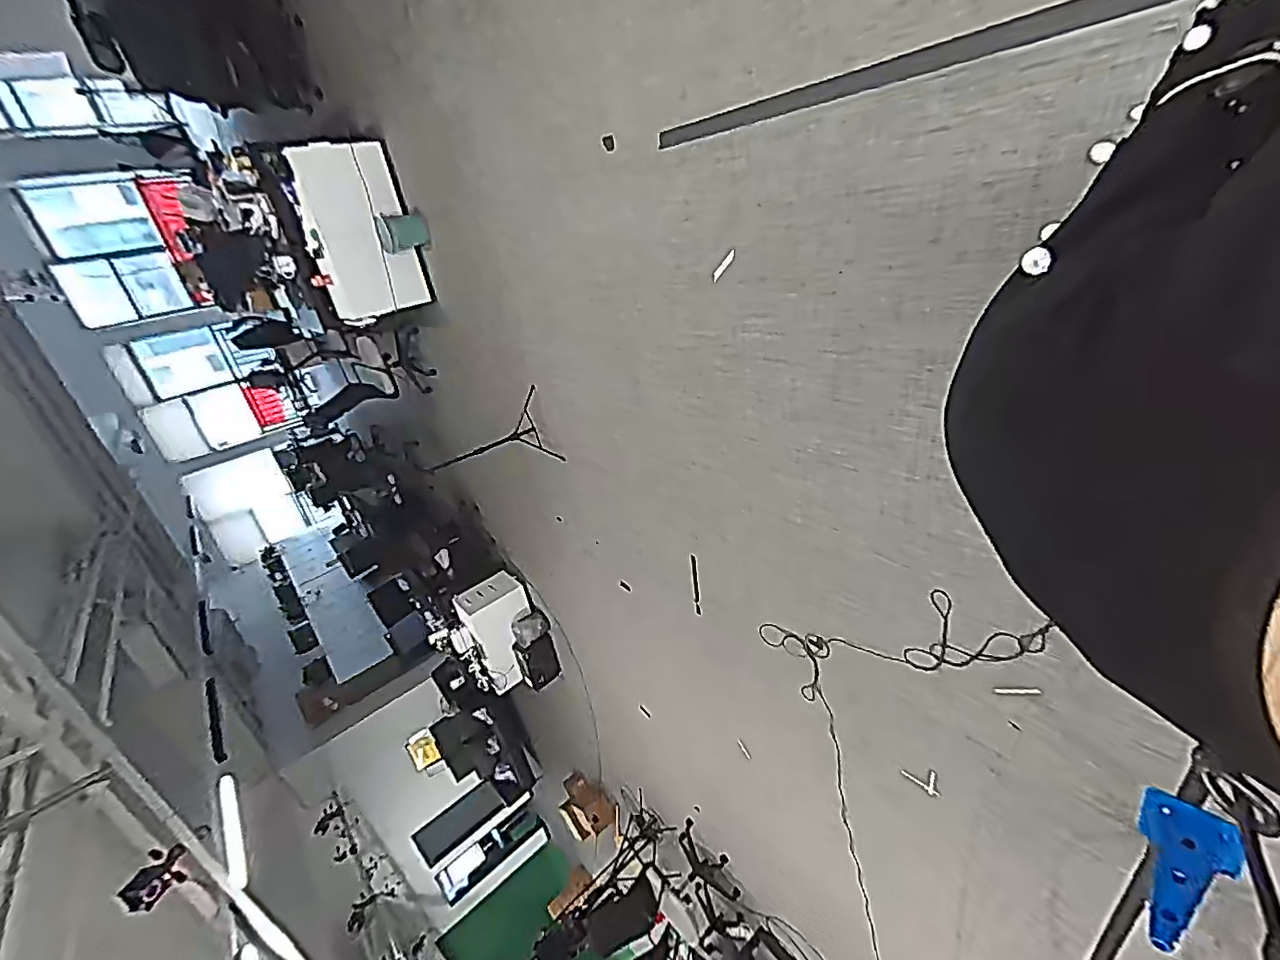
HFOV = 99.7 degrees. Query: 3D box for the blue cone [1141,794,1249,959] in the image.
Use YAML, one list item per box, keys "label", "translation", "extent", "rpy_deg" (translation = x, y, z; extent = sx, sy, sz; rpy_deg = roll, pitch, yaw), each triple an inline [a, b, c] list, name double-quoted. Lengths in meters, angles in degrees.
- label: "blue cone"
  translation: [1.360, 1.014, 1.361]
  extent: [0.192, 0.380, 0.193]
  rpy_deg: [17, 128, 47]
